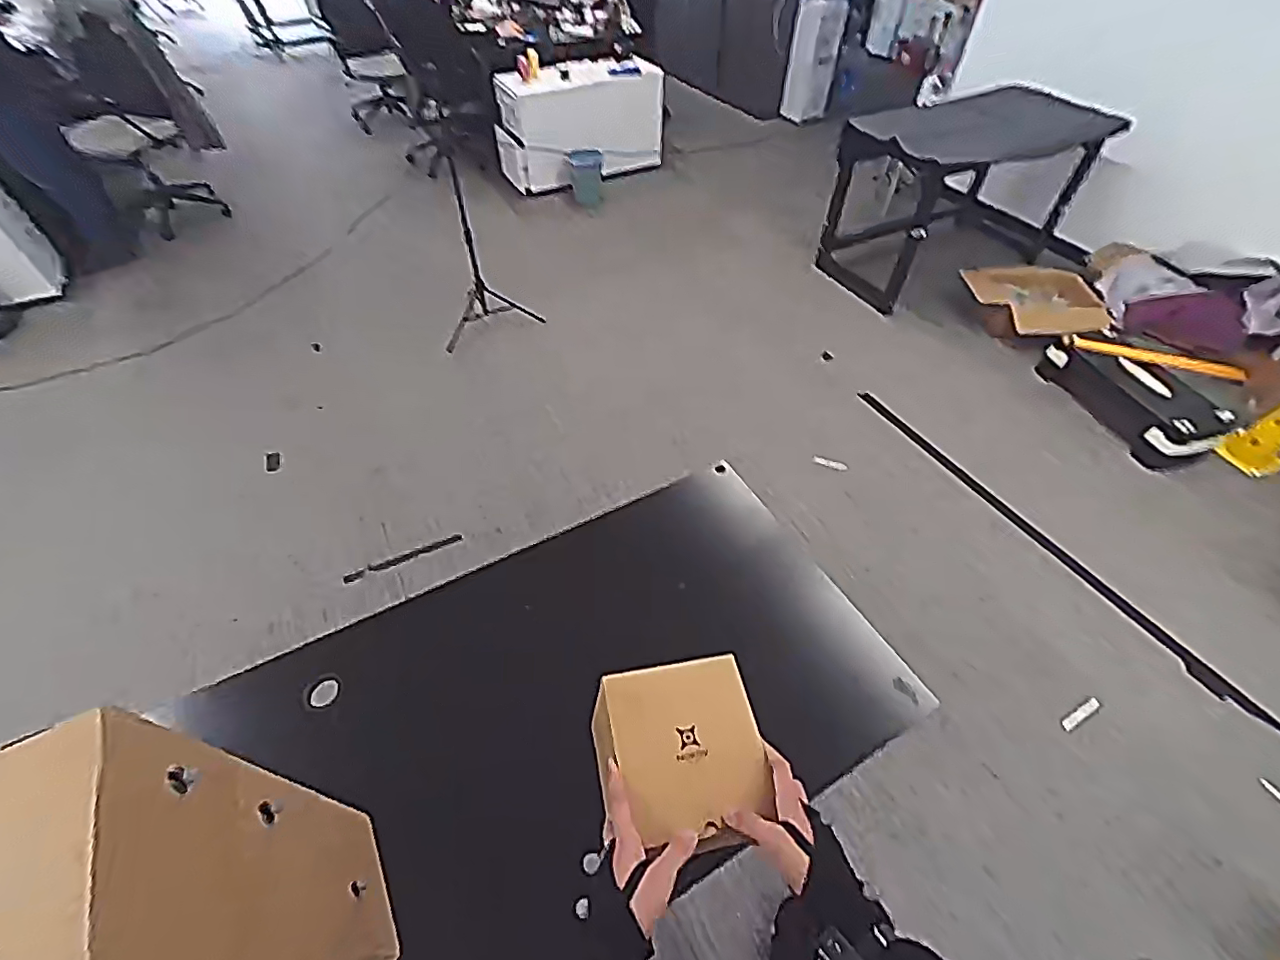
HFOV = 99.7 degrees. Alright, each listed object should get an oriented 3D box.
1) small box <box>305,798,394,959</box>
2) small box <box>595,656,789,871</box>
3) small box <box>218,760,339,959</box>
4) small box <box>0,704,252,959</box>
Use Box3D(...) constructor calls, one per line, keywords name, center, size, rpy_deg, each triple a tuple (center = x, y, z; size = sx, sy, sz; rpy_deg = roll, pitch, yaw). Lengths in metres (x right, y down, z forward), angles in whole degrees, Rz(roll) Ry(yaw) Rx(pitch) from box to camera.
Box3D(name="small box", center=(-0.405, 0.505, 0.617), size=(0.168, 0.176, 0.179), rpy_deg=(-24, 55, -20))
Box3D(name="small box", center=(0.045, 0.335, 0.640), size=(0.168, 0.176, 0.179), rpy_deg=(-5, 52, -14))
Box3D(name="small box", center=(-0.404, 0.398, 0.491), size=(0.168, 0.176, 0.179), rpy_deg=(-24, 55, -19))
Box3D(name="small box", center=(-0.402, 0.294, 0.366), size=(0.168, 0.176, 0.179), rpy_deg=(-25, 55, -18))
